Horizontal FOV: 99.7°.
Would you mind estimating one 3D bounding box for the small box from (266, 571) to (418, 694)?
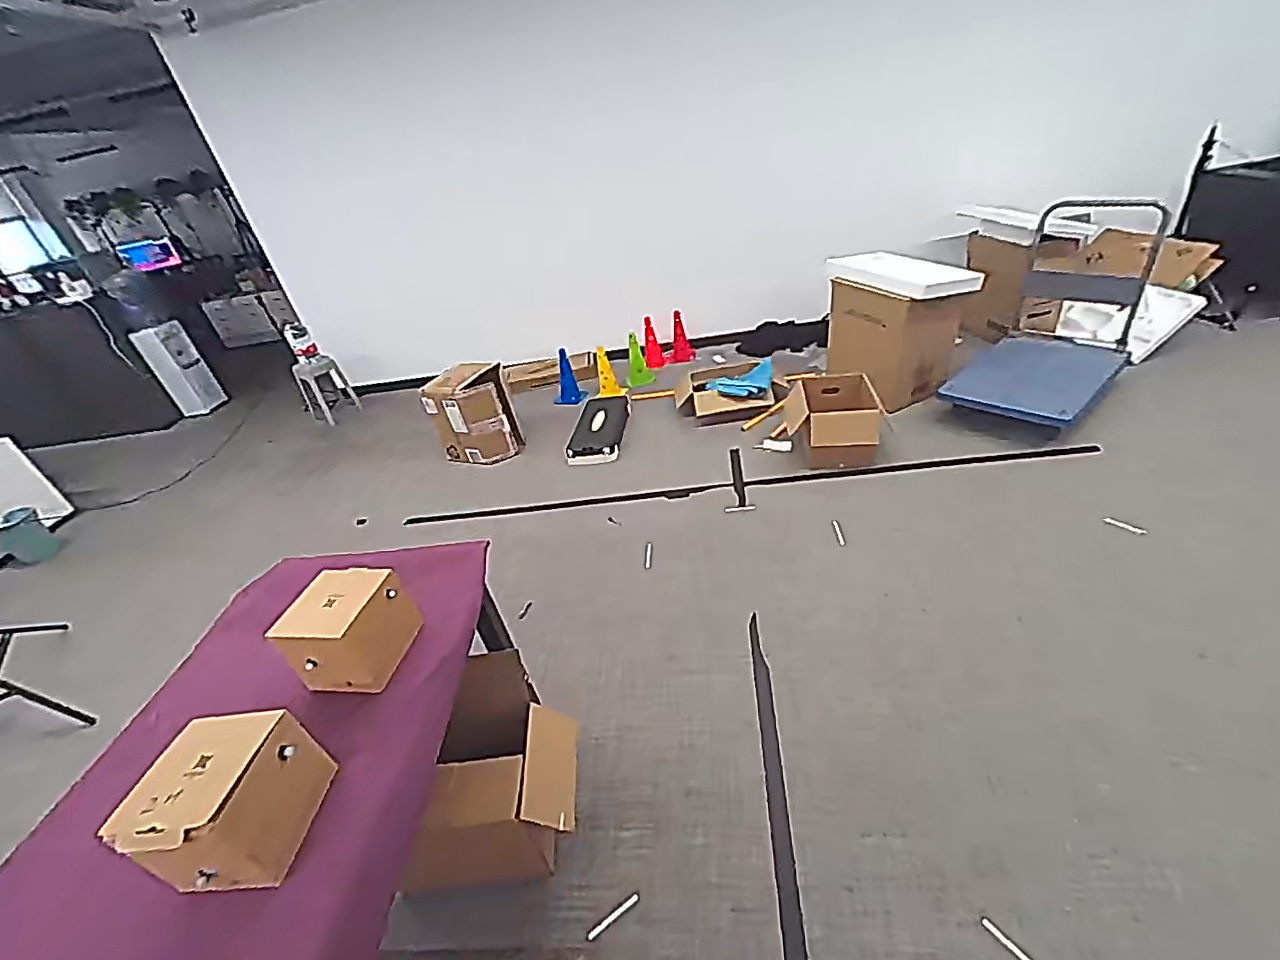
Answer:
[{"bbox_3d":[-0.572,0.301,1.070,0.168,0.176,0.179,-3,33,13],"label":"small box"}]

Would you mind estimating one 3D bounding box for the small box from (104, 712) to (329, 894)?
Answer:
[{"bbox_3d":[-0.605,0.479,0.808,0.168,0.176,0.179,-9,33,8],"label":"small box"}]
